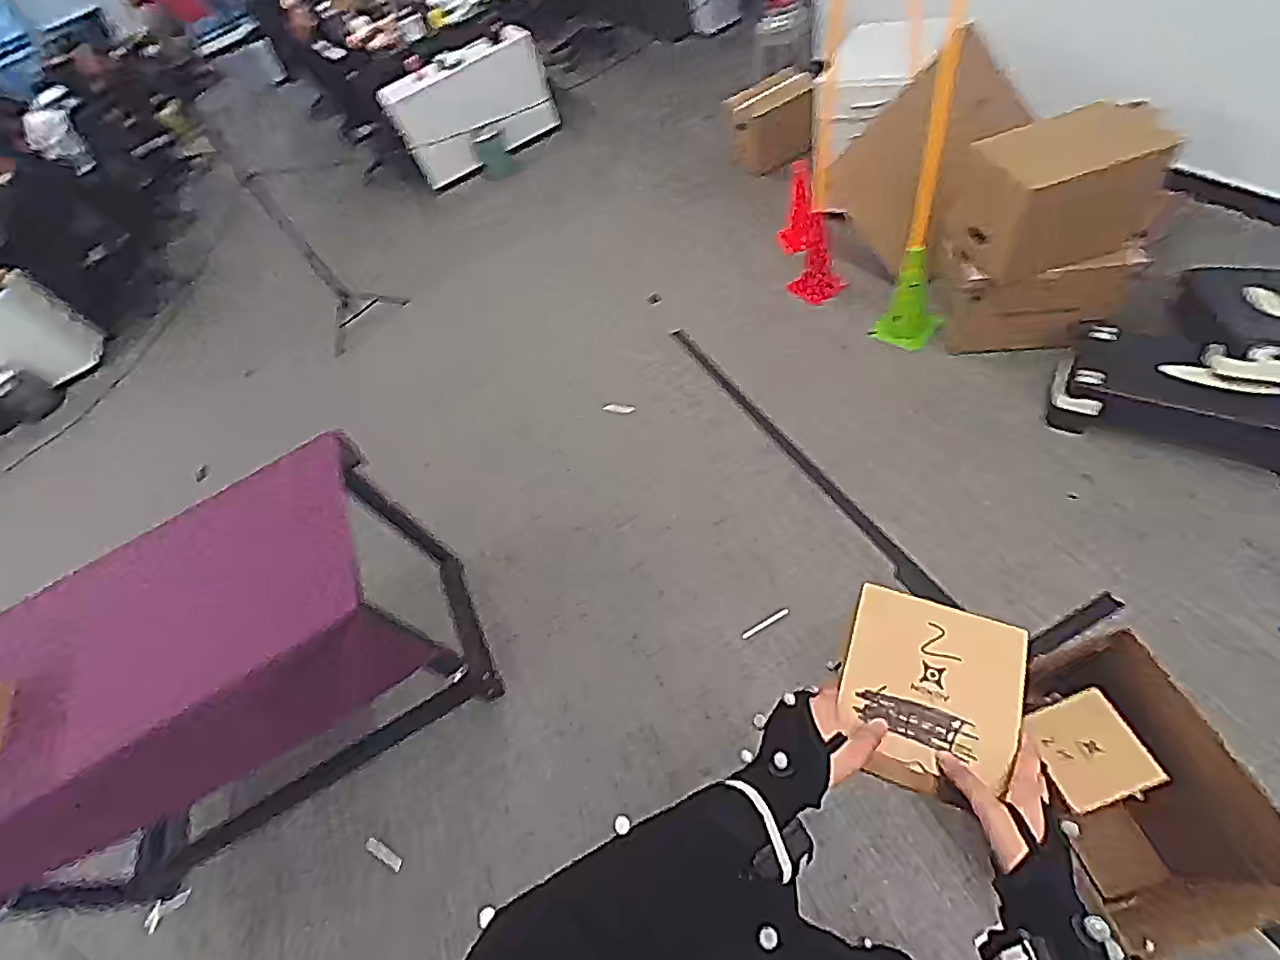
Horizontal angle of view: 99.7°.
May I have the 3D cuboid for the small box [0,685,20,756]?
[{"bbox_3d":[-1.454,0.524,1.114,0.168,0.176,0.179,-38,52,-10],"label":"small box"}]
